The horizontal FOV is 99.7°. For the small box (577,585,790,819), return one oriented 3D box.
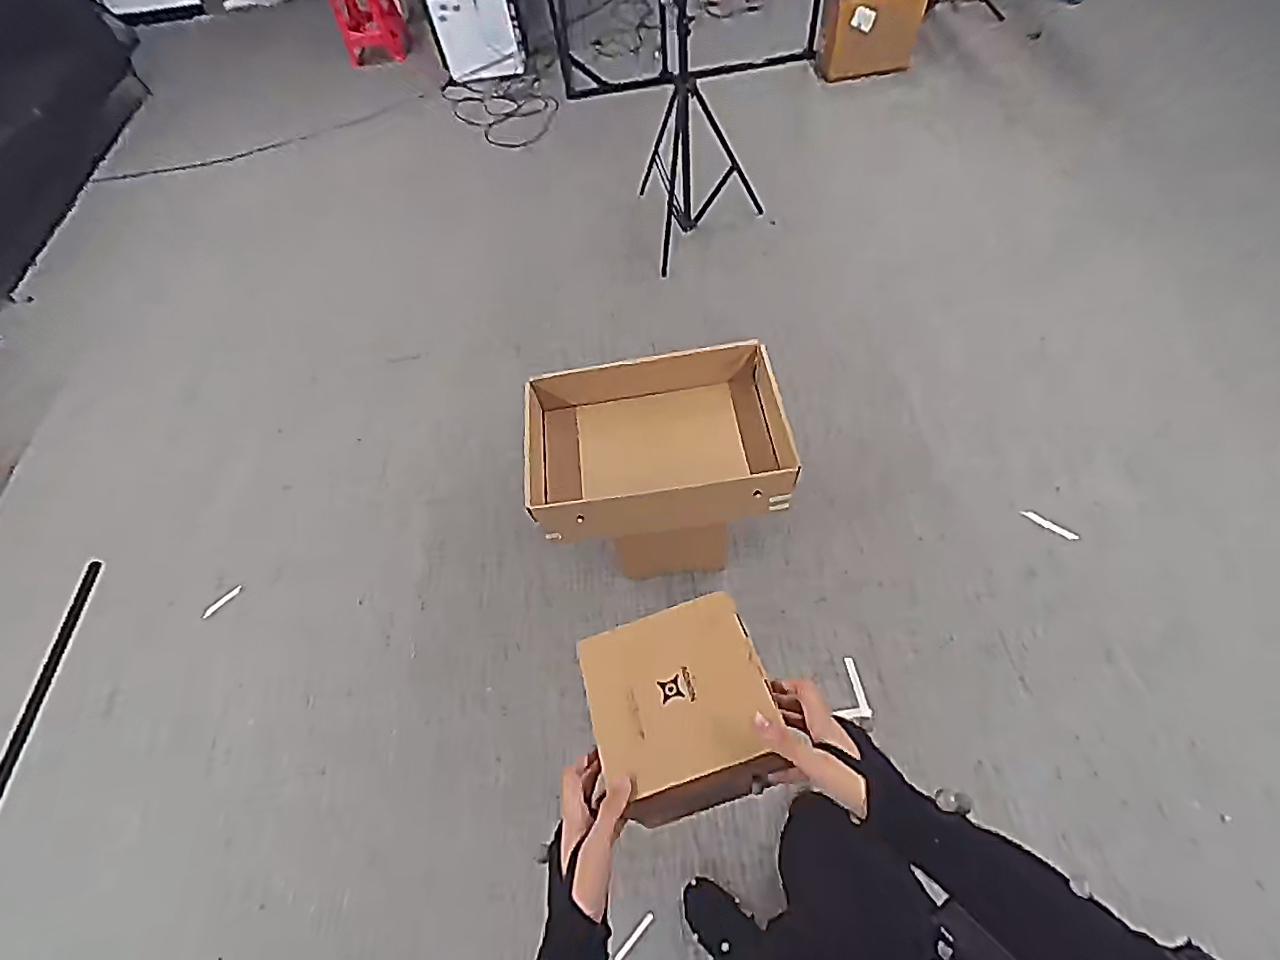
[{"bbox_3d":[0.049,0.246,0.593,0.179,0.176,0.168,-19,49,0],"label":"small box"}]
